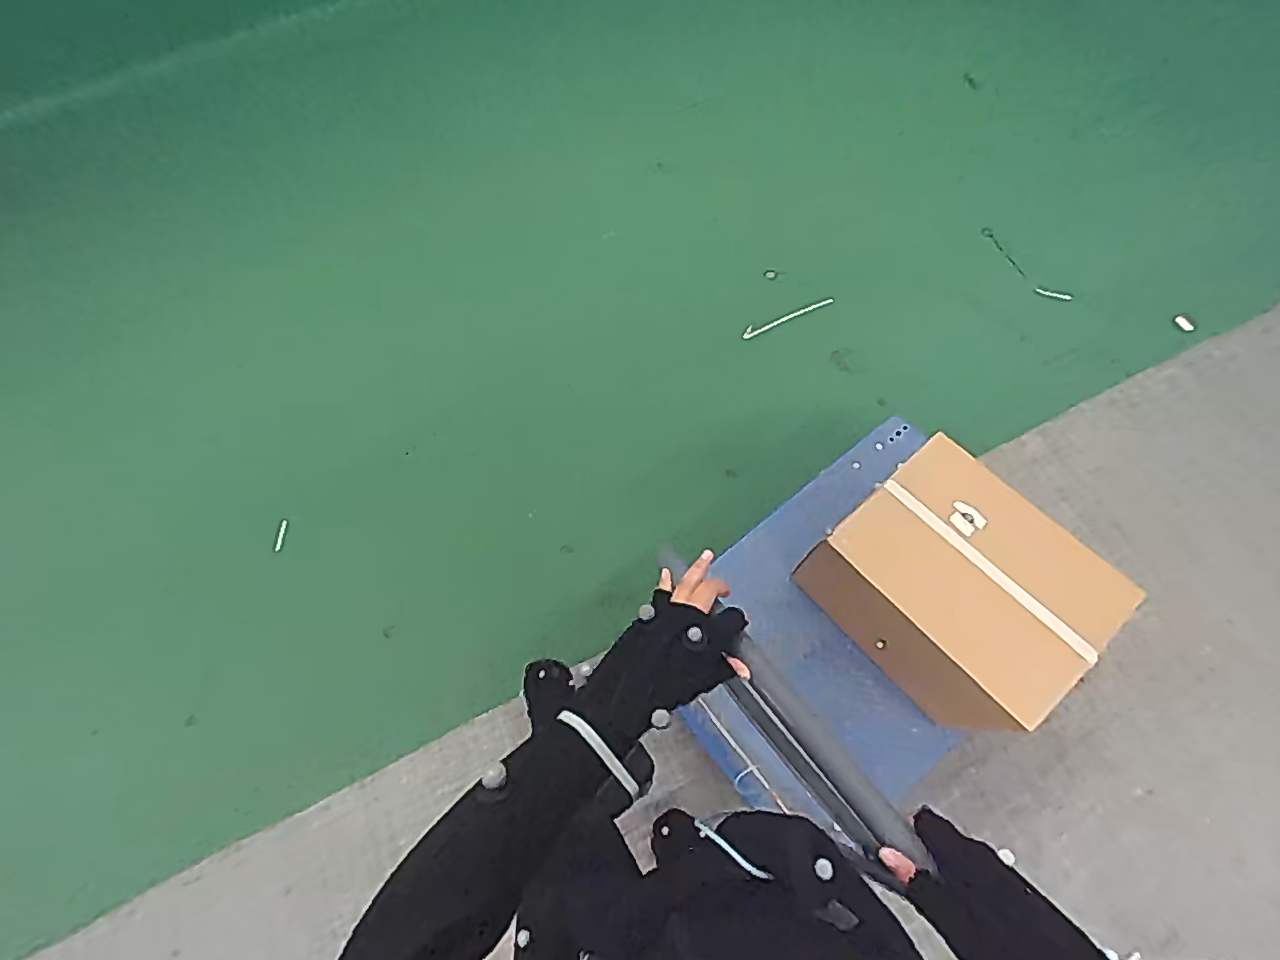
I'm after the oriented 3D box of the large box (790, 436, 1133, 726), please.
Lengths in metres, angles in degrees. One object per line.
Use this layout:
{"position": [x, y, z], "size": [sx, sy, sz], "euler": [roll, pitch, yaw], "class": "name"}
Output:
{"position": [0.562, 0.202, 1.038], "size": [0.320, 0.320, 0.408], "euler": [-39, 69, -12], "class": "large box"}
